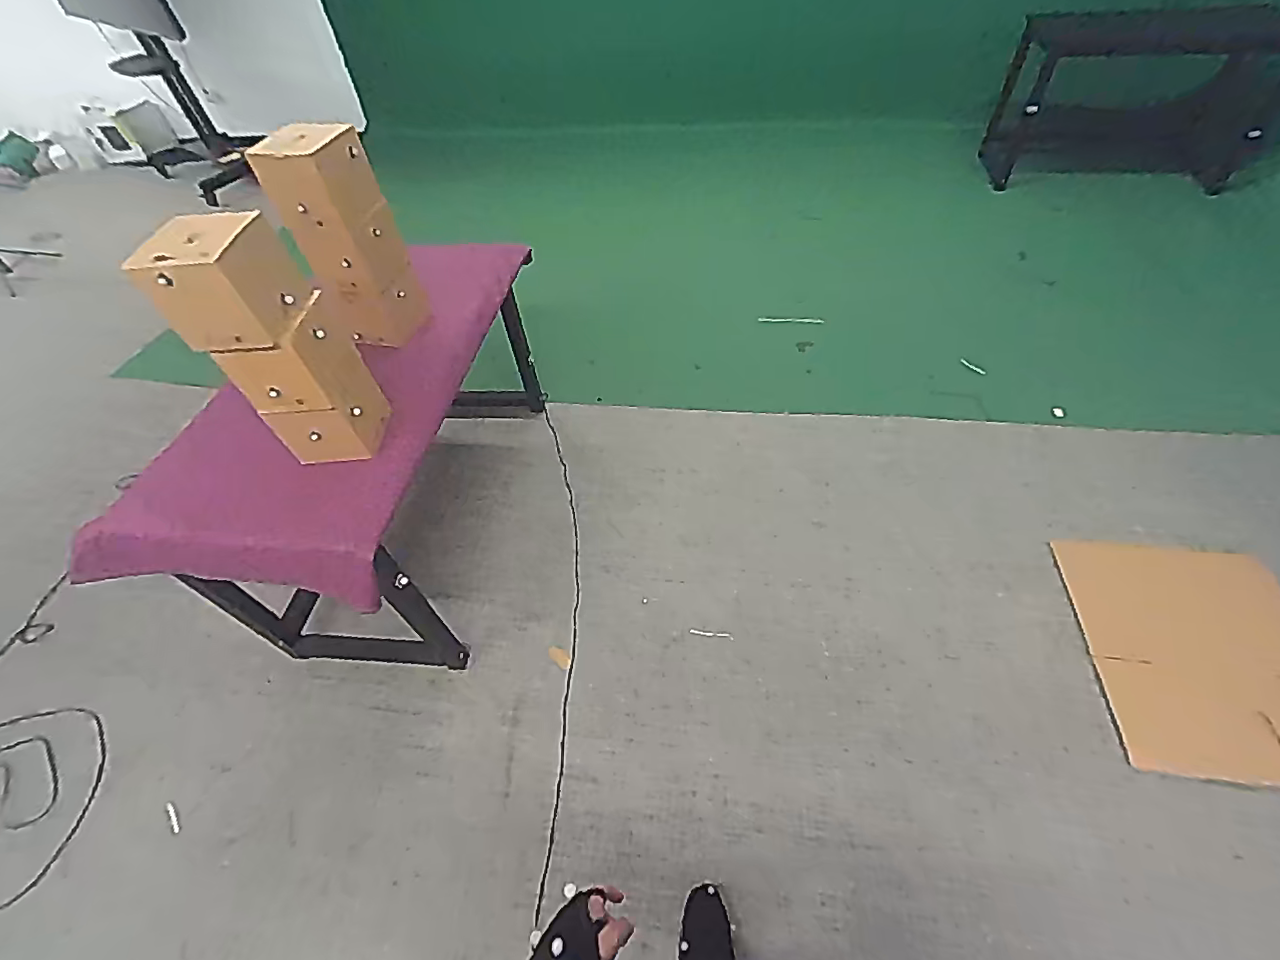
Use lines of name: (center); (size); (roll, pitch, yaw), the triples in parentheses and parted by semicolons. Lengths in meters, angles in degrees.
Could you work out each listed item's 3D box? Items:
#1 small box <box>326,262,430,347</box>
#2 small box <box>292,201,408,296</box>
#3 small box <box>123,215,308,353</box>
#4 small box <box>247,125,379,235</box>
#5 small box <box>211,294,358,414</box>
small box: (-0.716, -0.491, 1.505); (0.168, 0.176, 0.179); (9, 52, 12)
small box: (-0.724, -0.591, 1.377); (0.168, 0.176, 0.179); (9, 52, 11)
small box: (-0.740, -0.350, 0.972); (0.168, 0.176, 0.179); (-3, 51, 5)
small box: (-0.738, -0.694, 1.249); (0.168, 0.176, 0.179); (7, 53, 10)
small box: (-0.711, -0.255, 1.104); (0.168, 0.176, 0.179); (-3, 52, 4)
